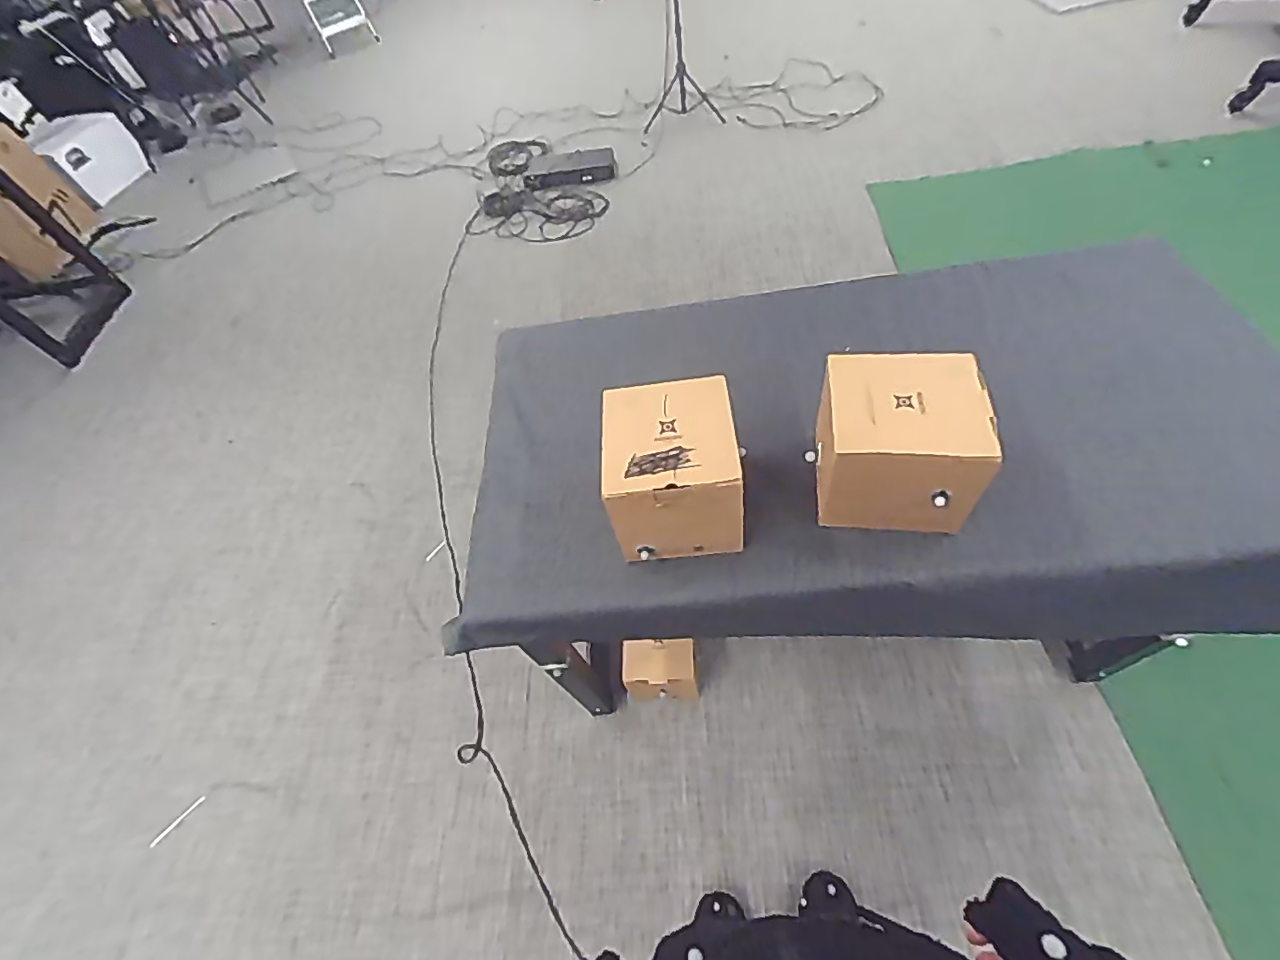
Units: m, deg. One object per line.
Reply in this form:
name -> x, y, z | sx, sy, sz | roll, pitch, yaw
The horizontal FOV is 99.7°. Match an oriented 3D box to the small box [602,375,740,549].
small box -> 0.047, -0.016, 0.738 | 0.168, 0.176, 0.179 | -5, 54, 6

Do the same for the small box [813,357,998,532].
small box -> 0.331, -0.043, 0.714 | 0.179, 0.176, 0.168 | 2, 55, 12
